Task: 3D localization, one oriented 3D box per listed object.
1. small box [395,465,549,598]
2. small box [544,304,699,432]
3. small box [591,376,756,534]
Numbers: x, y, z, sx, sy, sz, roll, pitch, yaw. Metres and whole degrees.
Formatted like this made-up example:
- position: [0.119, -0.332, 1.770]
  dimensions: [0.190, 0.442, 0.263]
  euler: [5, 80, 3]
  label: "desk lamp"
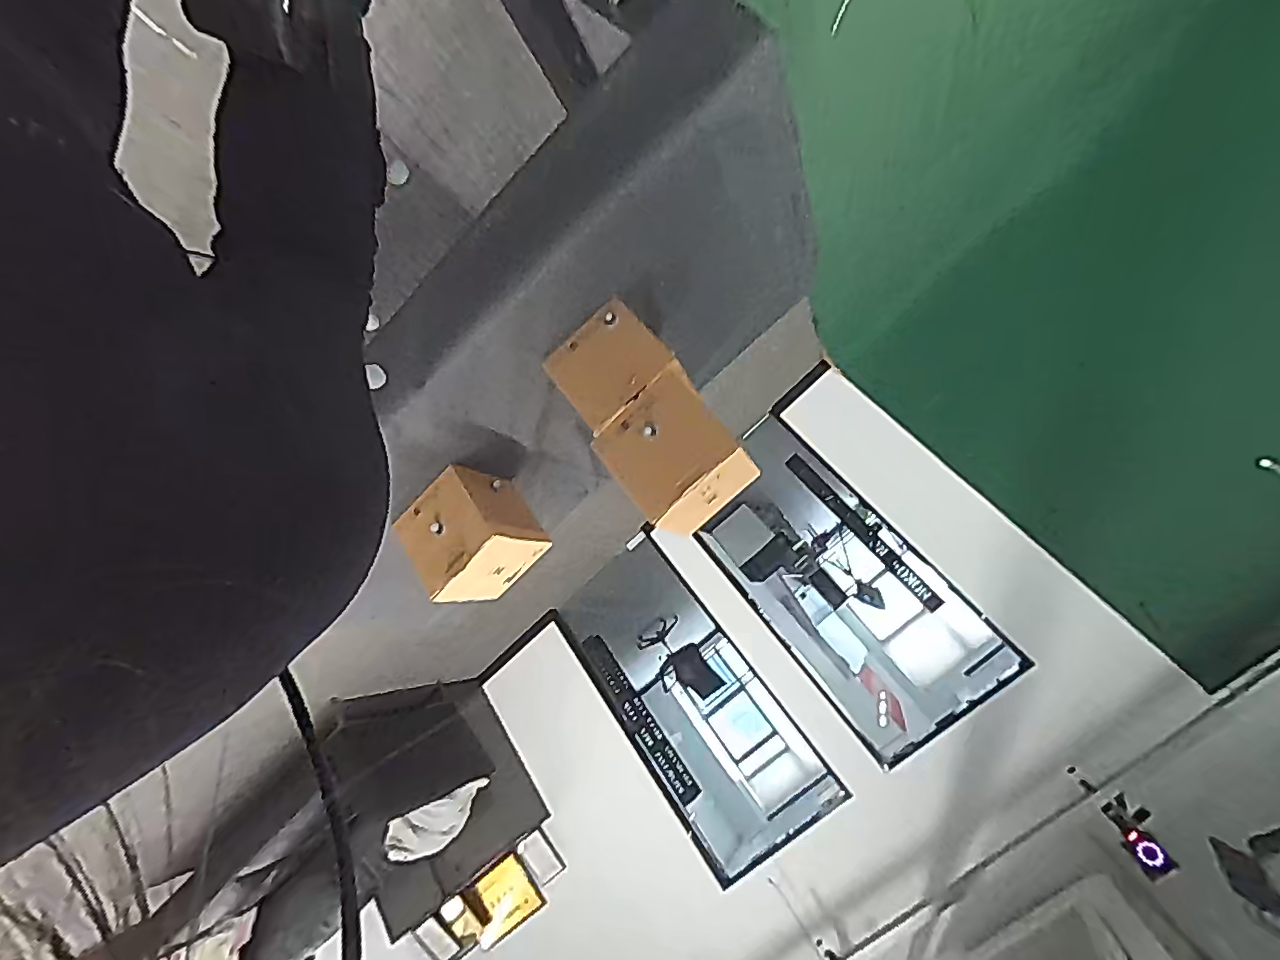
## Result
- position: [-0.306, 0.095, 0.983]
  dimensions: [0.168, 0.176, 0.179]
  euler: [-43, 156, 10]
  label: "small box"
- position: [-0.031, -0.166, 0.912]
  dimensions: [0.168, 0.176, 0.179]
  euler: [-41, 157, 6]
  label: "small box"
- position: [0.055, -0.036, 0.856]
  dimensions: [0.168, 0.176, 0.179]
  euler: [-43, 156, 8]
  label: "small box"
